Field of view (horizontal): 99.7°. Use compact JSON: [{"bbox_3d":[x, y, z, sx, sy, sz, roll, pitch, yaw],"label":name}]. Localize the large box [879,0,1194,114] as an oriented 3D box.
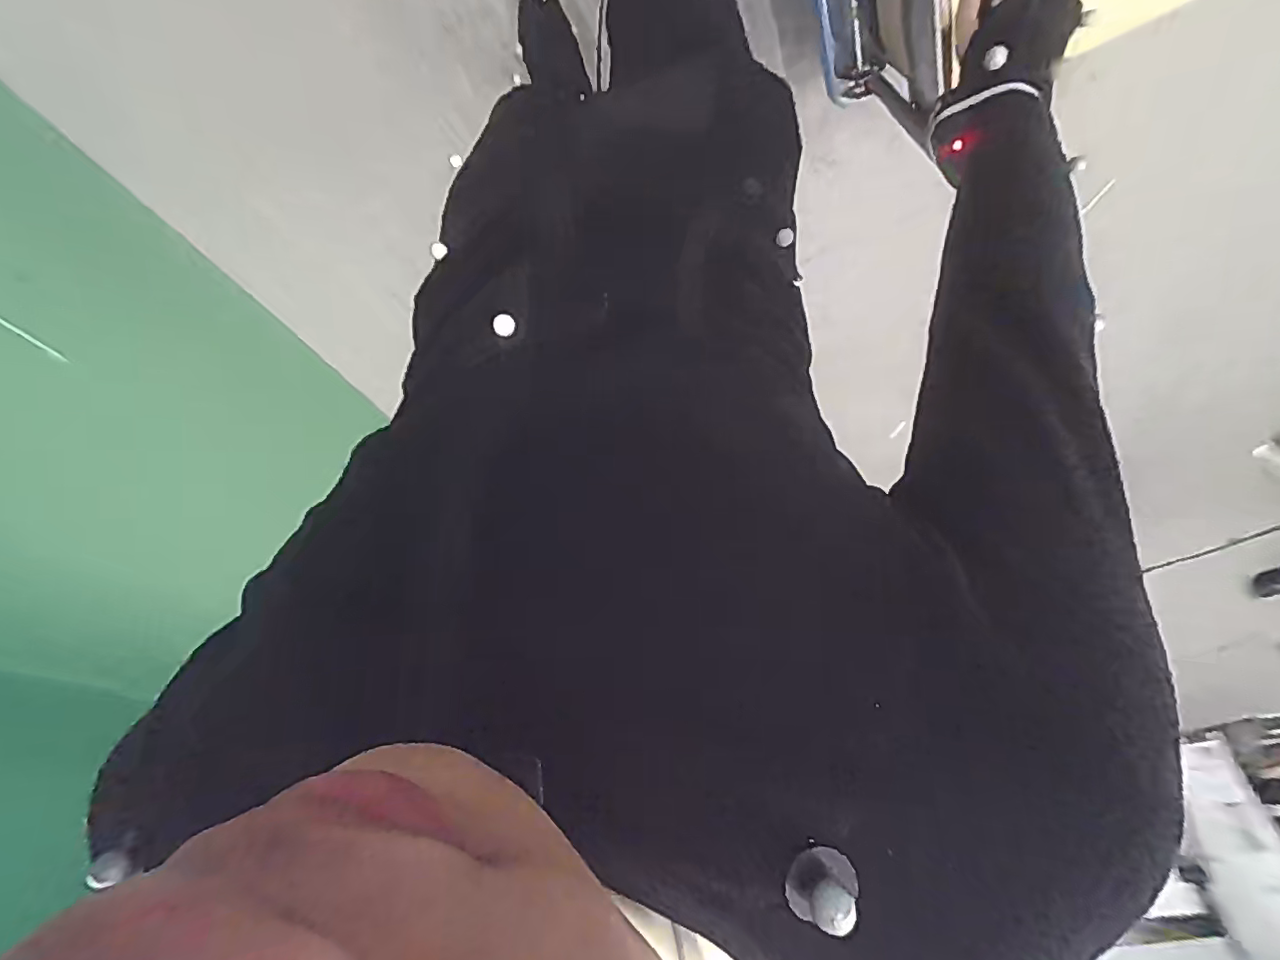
[{"bbox_3d":[0.600,-0.842,0.798,0.408,0.320,0.320,-19,138,15],"label":"large box"}]
